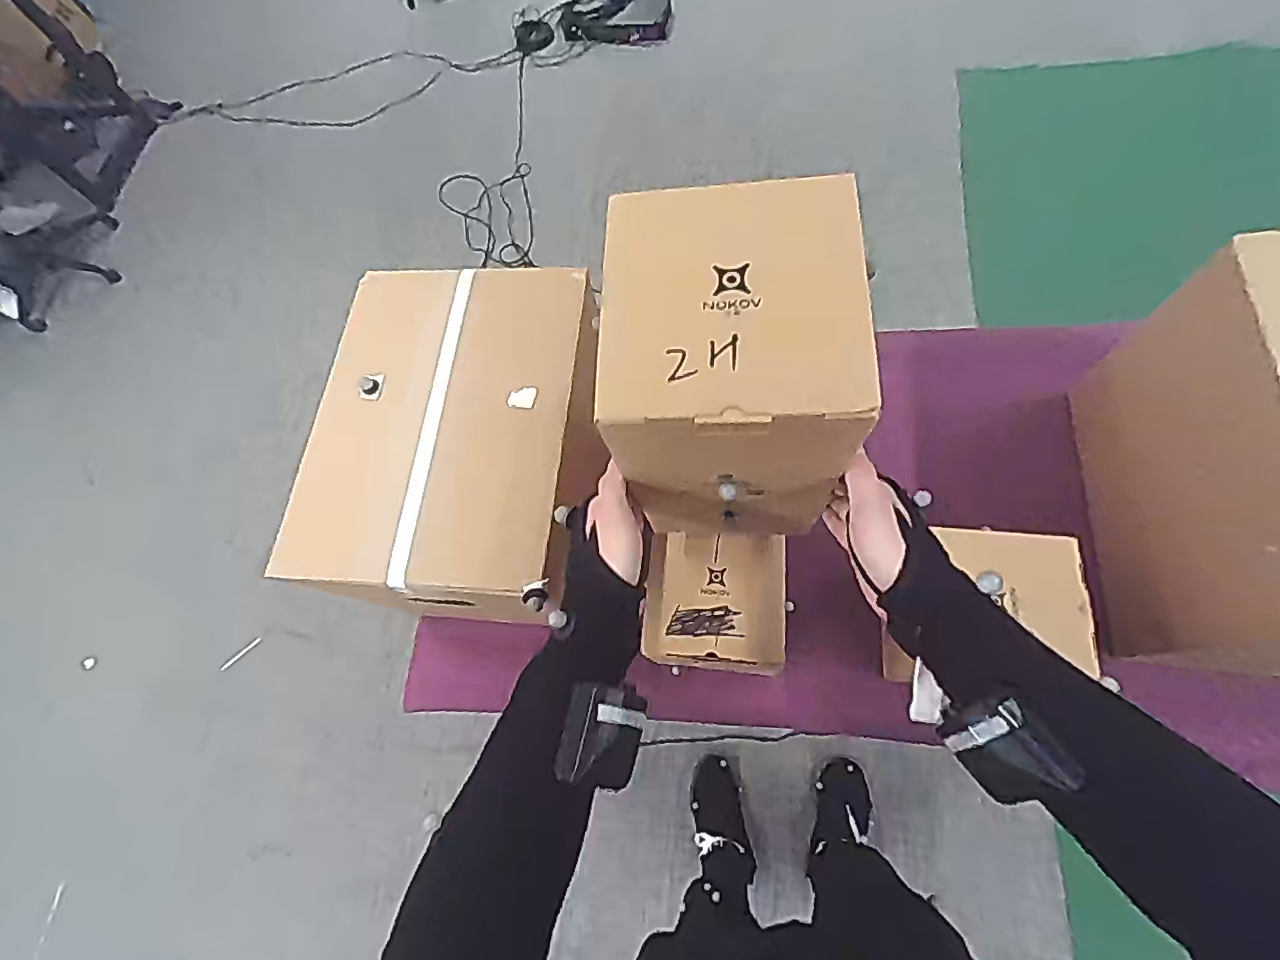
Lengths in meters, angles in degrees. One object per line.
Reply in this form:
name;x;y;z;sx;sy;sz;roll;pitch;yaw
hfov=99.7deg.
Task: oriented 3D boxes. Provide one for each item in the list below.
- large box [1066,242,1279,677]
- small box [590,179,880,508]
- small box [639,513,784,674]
large box;0.756;0.001;0.599;0.320;0.320;0.408;2;69;12
small box;0.066;-0.086;0.407;0.168;0.176;0.179;0;72;9
small box;0.099;0.156;0.714;0.168;0.176;0.179;2;68;10
